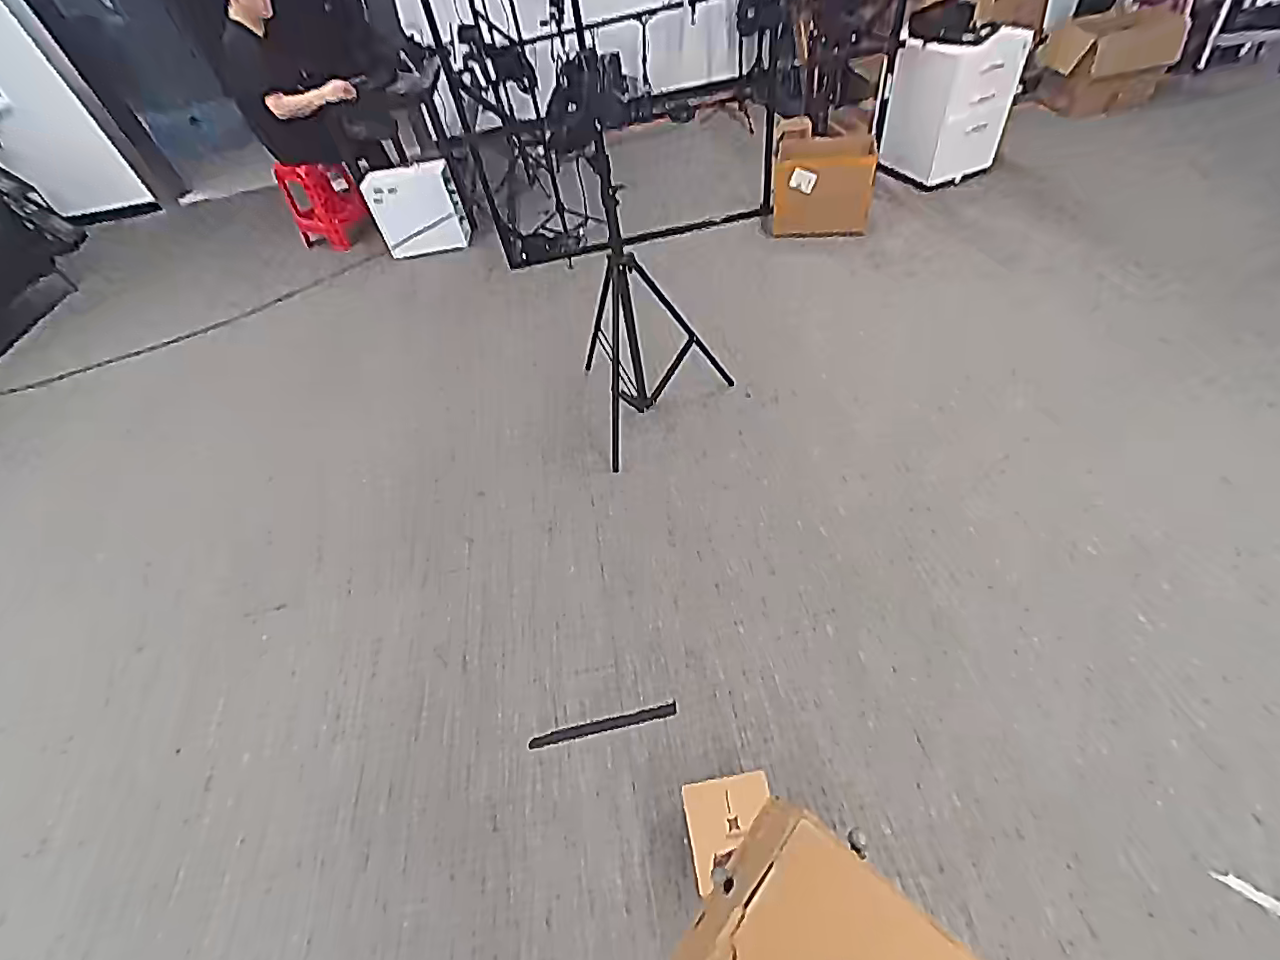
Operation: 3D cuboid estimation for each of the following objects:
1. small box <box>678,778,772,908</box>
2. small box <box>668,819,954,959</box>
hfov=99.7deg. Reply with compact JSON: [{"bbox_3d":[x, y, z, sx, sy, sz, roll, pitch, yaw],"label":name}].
[{"bbox_3d":[0.175,0.699,1.033,0.168,0.176,0.179,-11,47,-1],"label":"small box"},{"bbox_3d":[0.111,0.333,0.318,0.179,0.176,0.168,32,71,22],"label":"small box"}]
